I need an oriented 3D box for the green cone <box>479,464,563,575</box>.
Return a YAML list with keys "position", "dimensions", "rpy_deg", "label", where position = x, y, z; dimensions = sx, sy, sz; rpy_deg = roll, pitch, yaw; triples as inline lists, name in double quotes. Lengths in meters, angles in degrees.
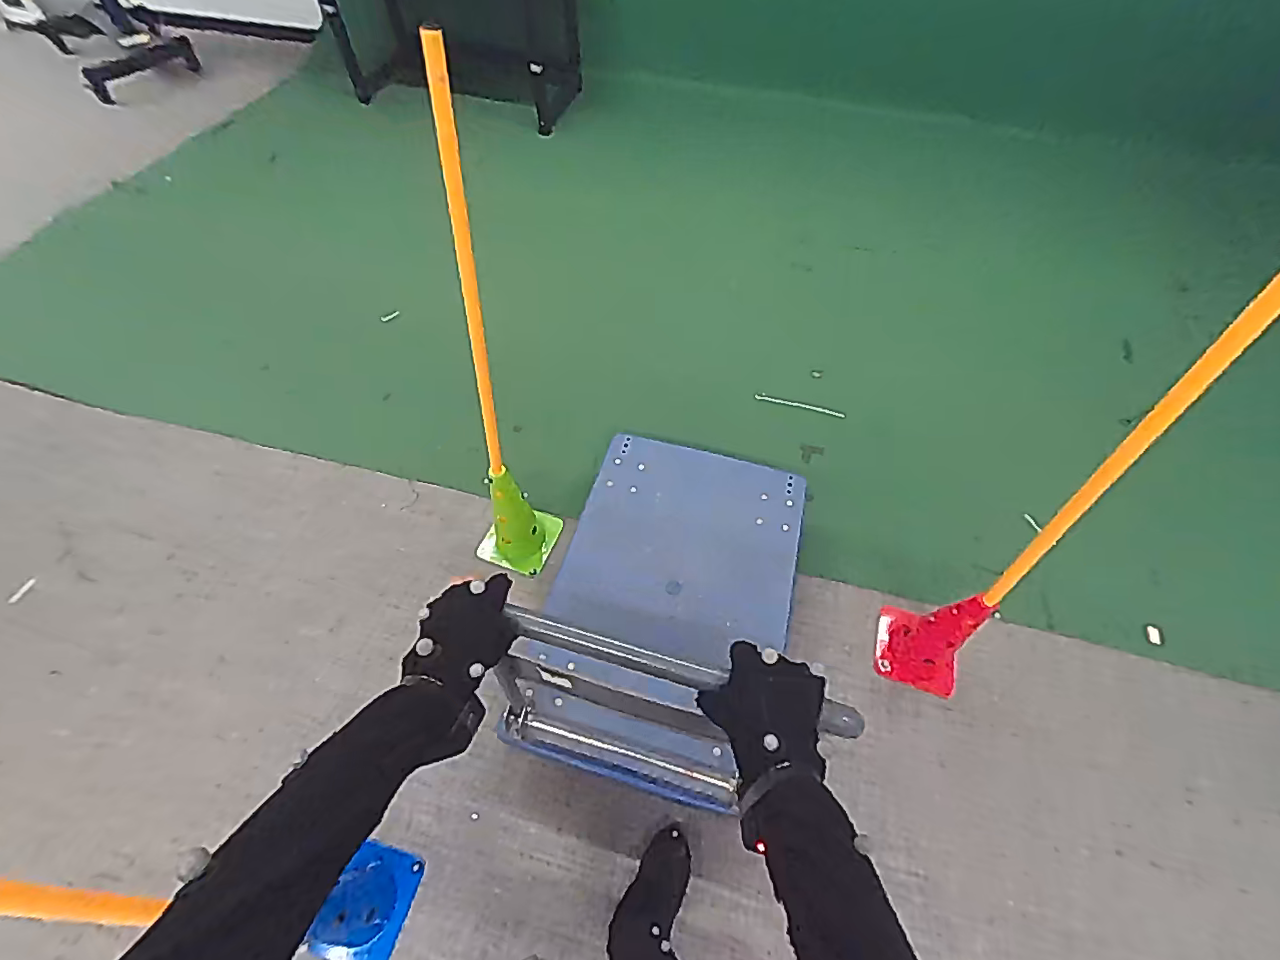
- position: [-0.351, 0.075, 1.470]
  dimensions: [0.202, 0.368, 0.200]
  rpy_deg: [17, 57, 11]
  label: "green cone"
